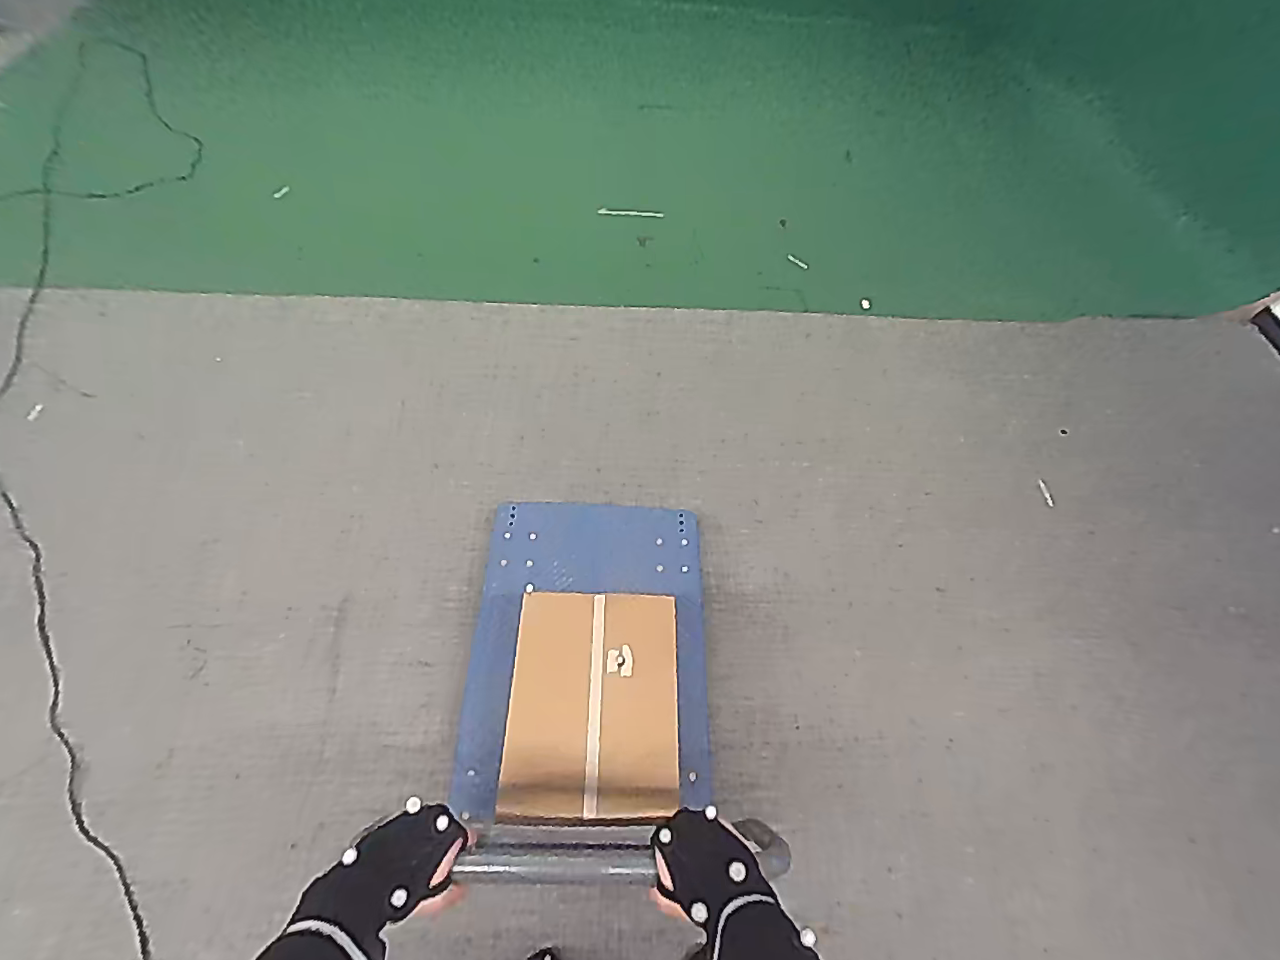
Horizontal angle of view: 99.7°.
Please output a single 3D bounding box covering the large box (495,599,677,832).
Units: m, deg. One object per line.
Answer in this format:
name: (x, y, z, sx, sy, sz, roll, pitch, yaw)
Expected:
large box: (-0.102, 0.498, 1.137, 0.320, 0.320, 0.408, 3, 57, -4)
